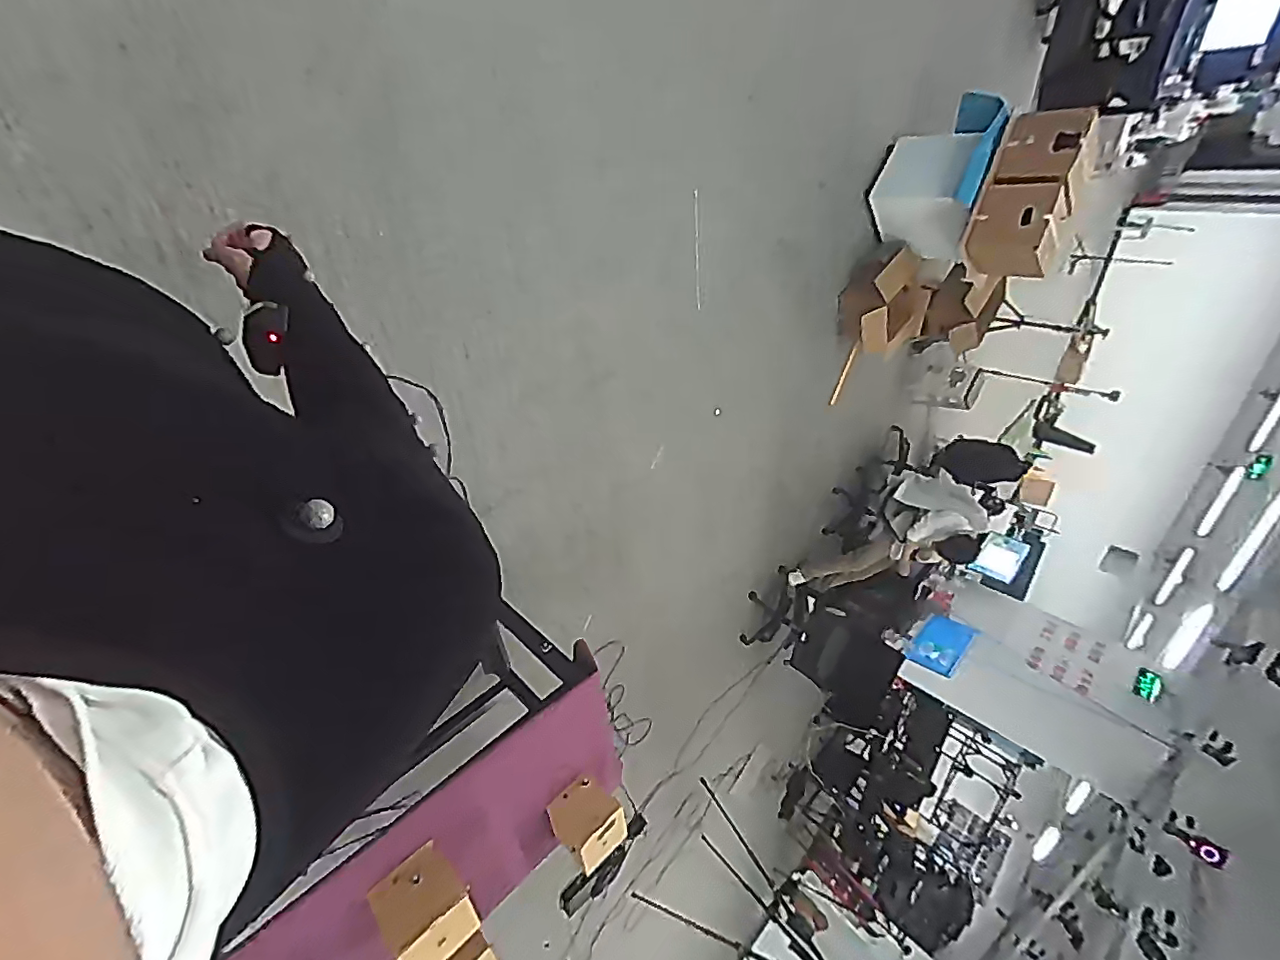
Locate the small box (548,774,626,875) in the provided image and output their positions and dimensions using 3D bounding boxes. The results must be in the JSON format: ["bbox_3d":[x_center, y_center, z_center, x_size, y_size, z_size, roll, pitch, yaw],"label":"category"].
[{"bbox_3d":[-0.165,1.048,1.661,0.168,0.176,0.179,-29,129,-34],"label":"small box"}]

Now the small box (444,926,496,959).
[{"bbox_3d":[-0.491,1.263,1.421,0.168,0.176,0.179,-30,128,-35],"label":"small box"}]

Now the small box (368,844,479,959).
[{"bbox_3d":[-0.506,1.006,1.265,0.168,0.176,0.179,-29,130,-35],"label":"small box"}]
